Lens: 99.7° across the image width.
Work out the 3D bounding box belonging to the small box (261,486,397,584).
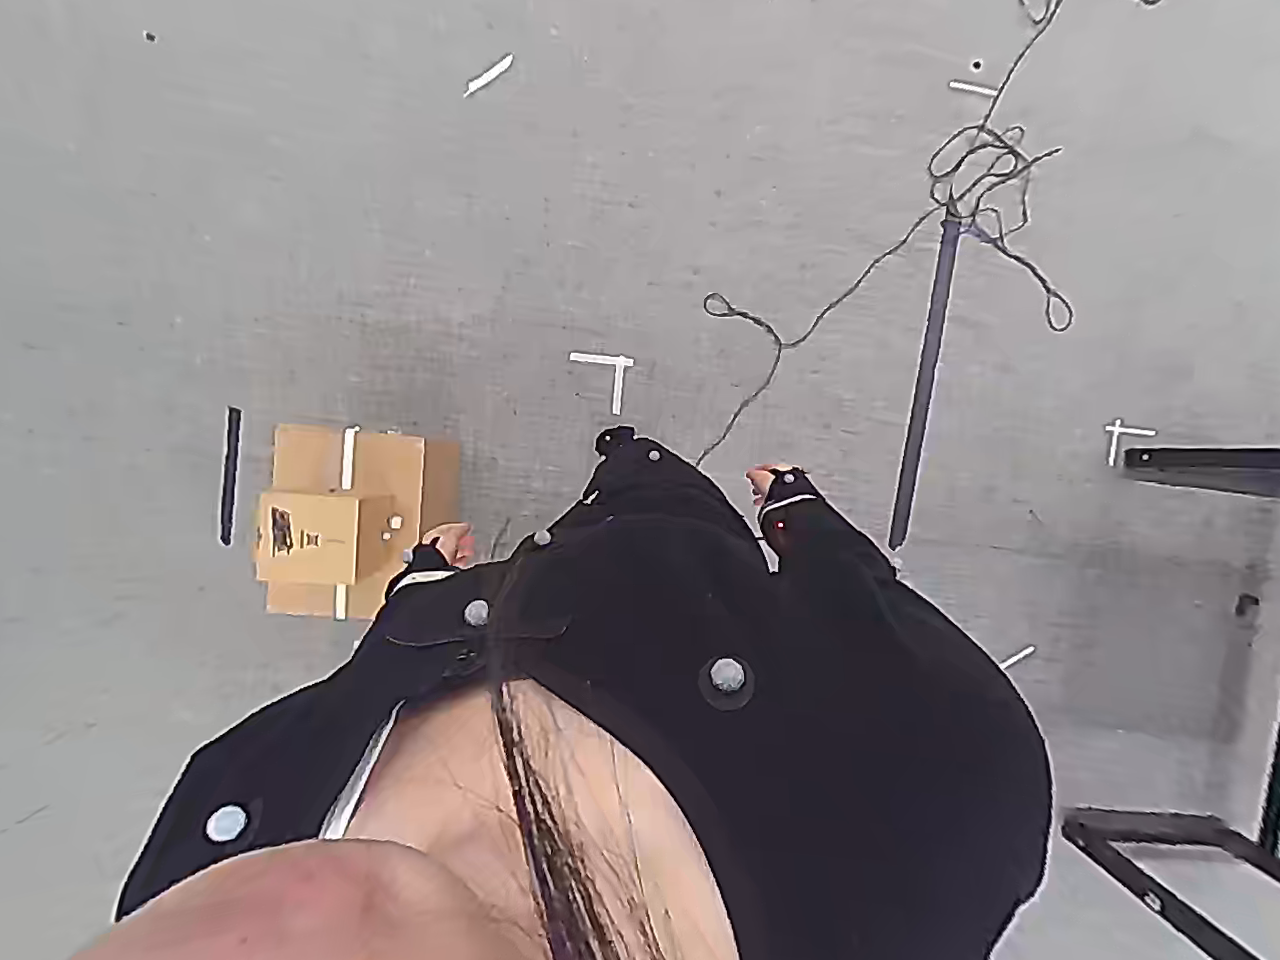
[{"bbox_3d":[-0.605,0.101,1.069,0.179,0.176,0.168,4,93,-5],"label":"small box"}]
